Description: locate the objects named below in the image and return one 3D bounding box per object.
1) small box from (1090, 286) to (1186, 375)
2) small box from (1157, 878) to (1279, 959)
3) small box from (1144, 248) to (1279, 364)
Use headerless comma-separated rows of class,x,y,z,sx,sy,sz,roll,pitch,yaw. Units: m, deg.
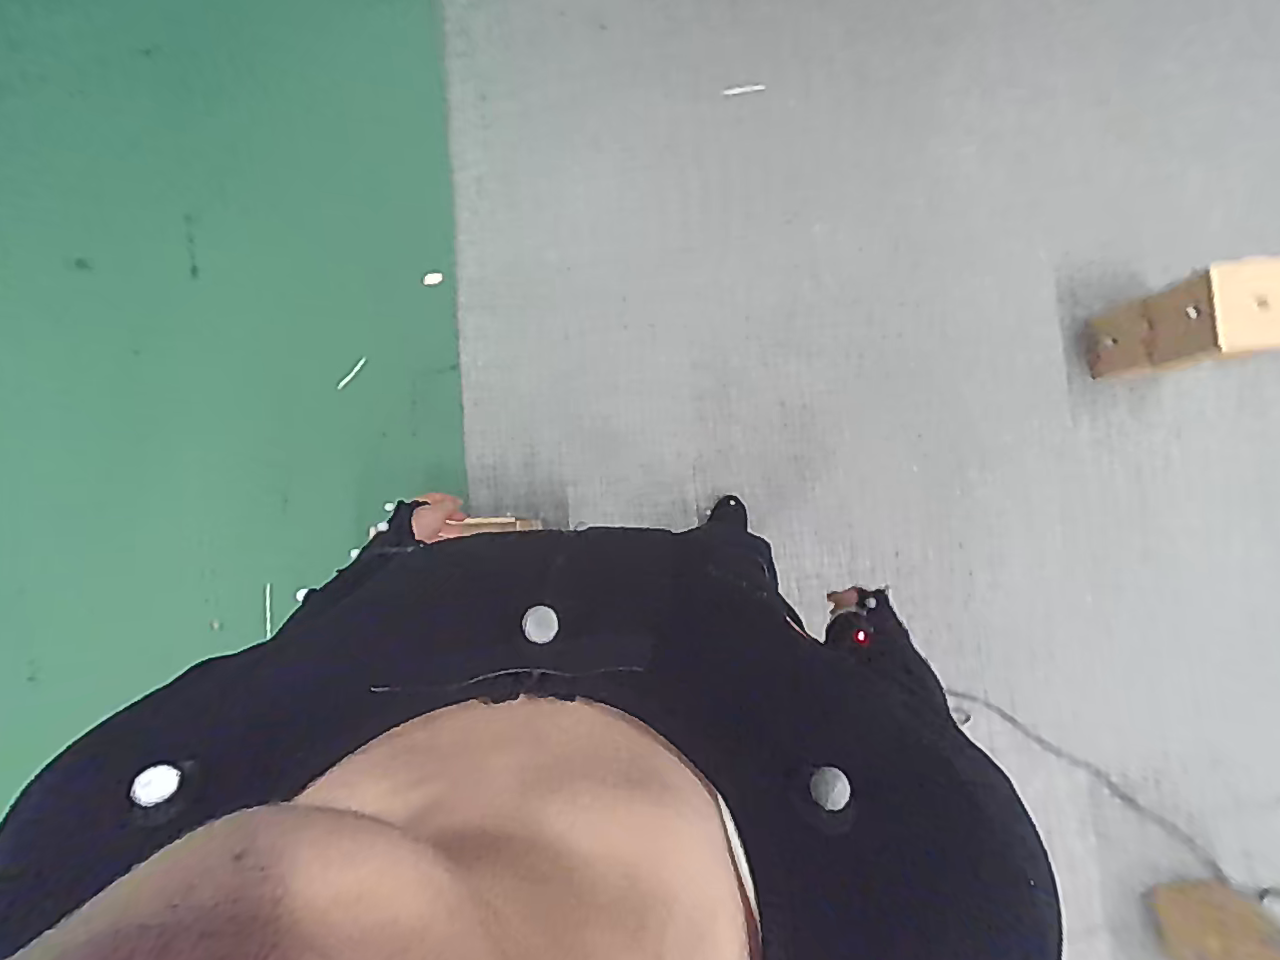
small box,1.215,-0.355,1.285,0.179,0.176,0.168,-5,87,7
small box,1.312,1.022,1.196,0.168,0.176,0.179,-13,86,7
small box,1.202,-0.355,1.122,0.168,0.176,0.179,-5,87,8
